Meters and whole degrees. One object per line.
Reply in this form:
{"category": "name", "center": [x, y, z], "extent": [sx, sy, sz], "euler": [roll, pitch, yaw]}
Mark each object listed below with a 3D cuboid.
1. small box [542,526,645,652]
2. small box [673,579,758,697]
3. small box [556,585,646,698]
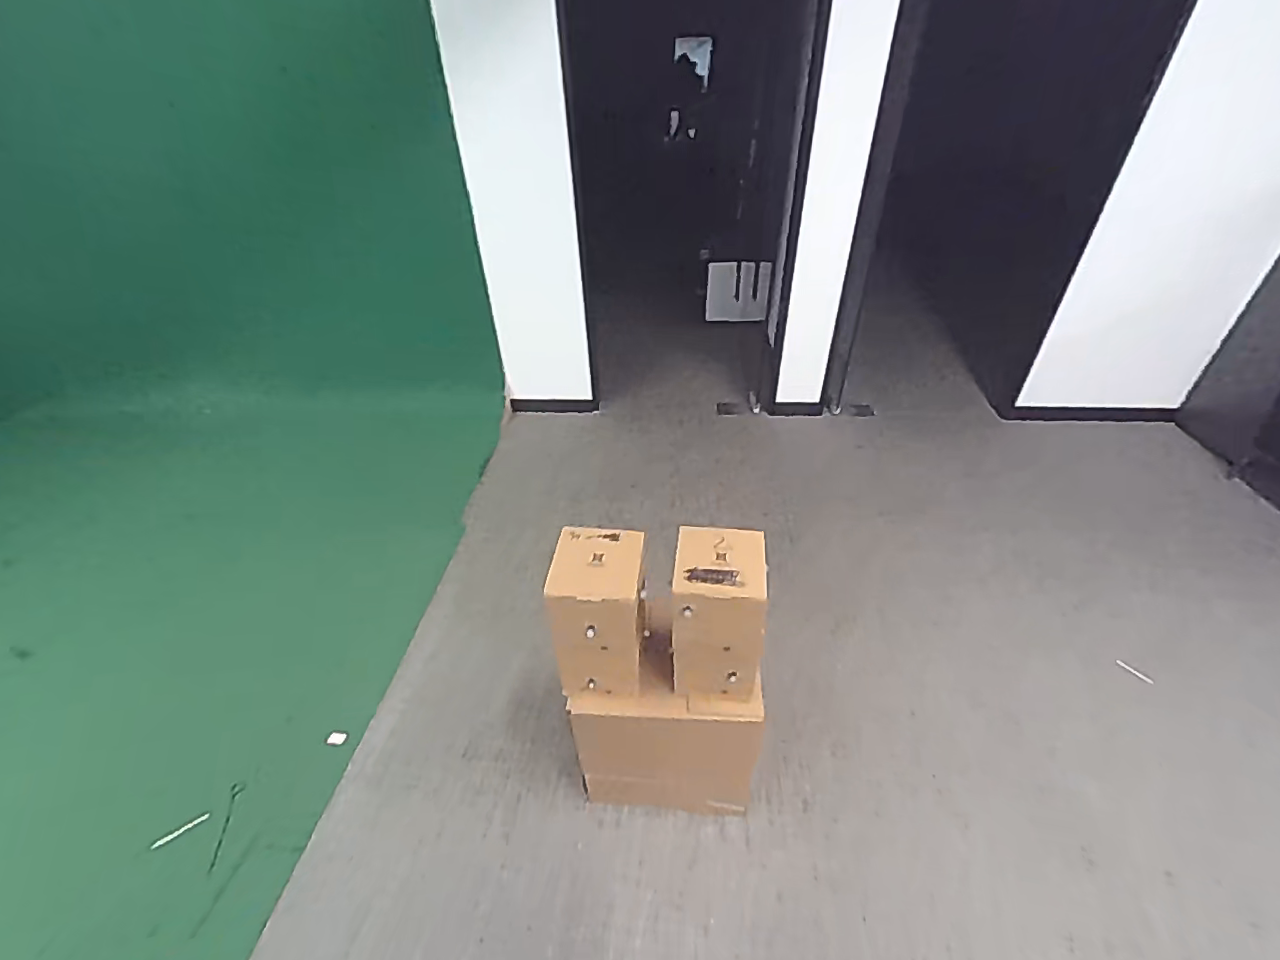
{"category": "small box", "center": [-0.081, 0.213, 1.050], "extent": [0.168, 0.176, 0.179], "euler": [4, 40, 5]}
{"category": "small box", "center": [0.161, 0.335, 1.146], "extent": [0.168, 0.176, 0.179], "euler": [3, 38, 8]}
{"category": "small box", "center": [-0.076, 0.337, 1.157], "extent": [0.168, 0.176, 0.179], "euler": [3, 40, 5]}
